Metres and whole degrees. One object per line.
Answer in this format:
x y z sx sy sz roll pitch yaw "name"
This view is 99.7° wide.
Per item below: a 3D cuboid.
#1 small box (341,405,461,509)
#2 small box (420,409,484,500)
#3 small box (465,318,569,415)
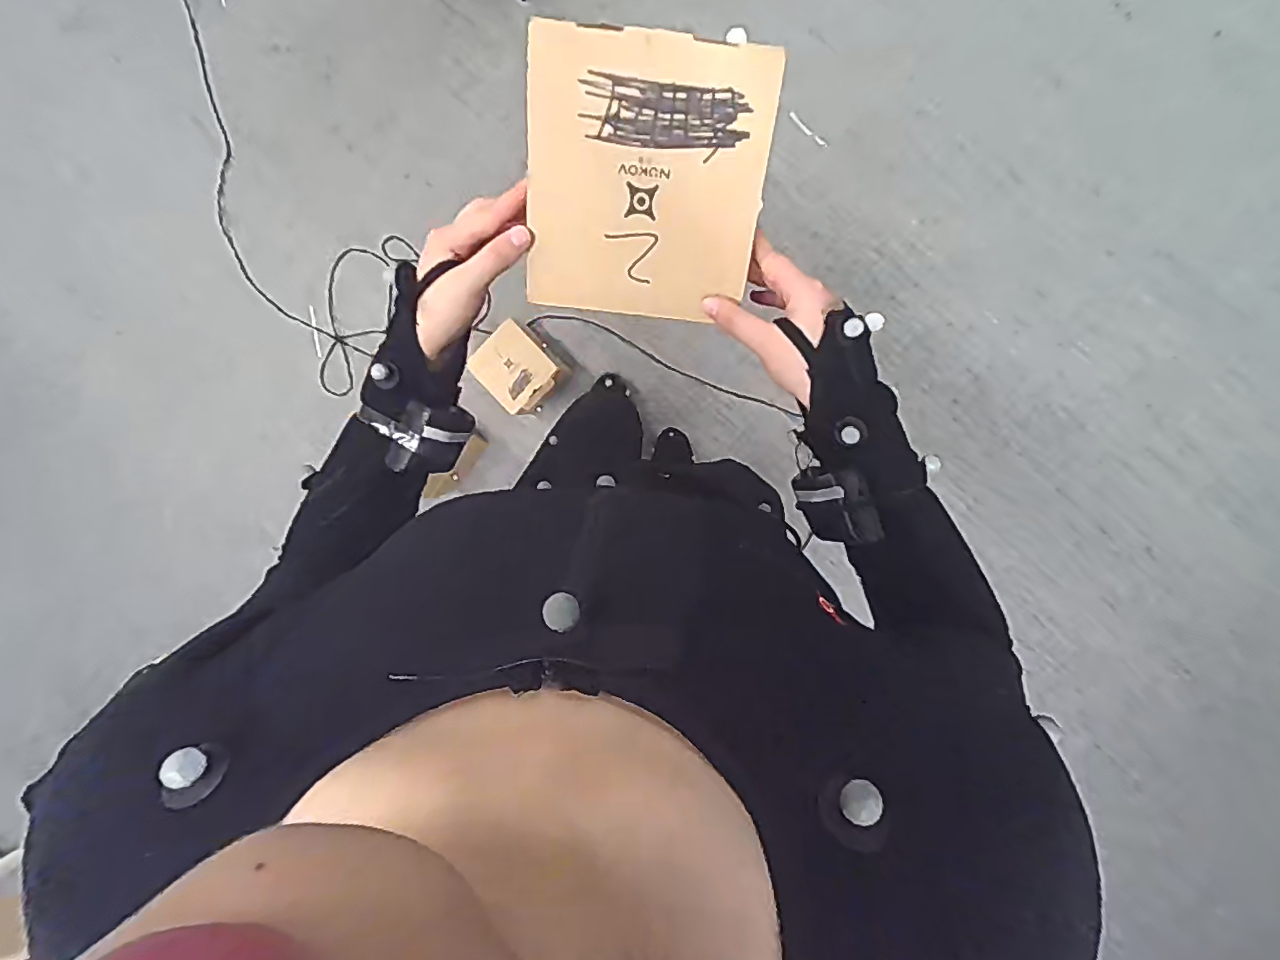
-0.548 -0.062 1.271 0.168 0.176 0.179 35 100 -2 "small box"
-0.538 -0.077 1.435 0.168 0.176 0.179 37 100 -2 "small box"
-0.305 -0.287 1.386 0.168 0.176 0.179 -44 93 9 "small box"
